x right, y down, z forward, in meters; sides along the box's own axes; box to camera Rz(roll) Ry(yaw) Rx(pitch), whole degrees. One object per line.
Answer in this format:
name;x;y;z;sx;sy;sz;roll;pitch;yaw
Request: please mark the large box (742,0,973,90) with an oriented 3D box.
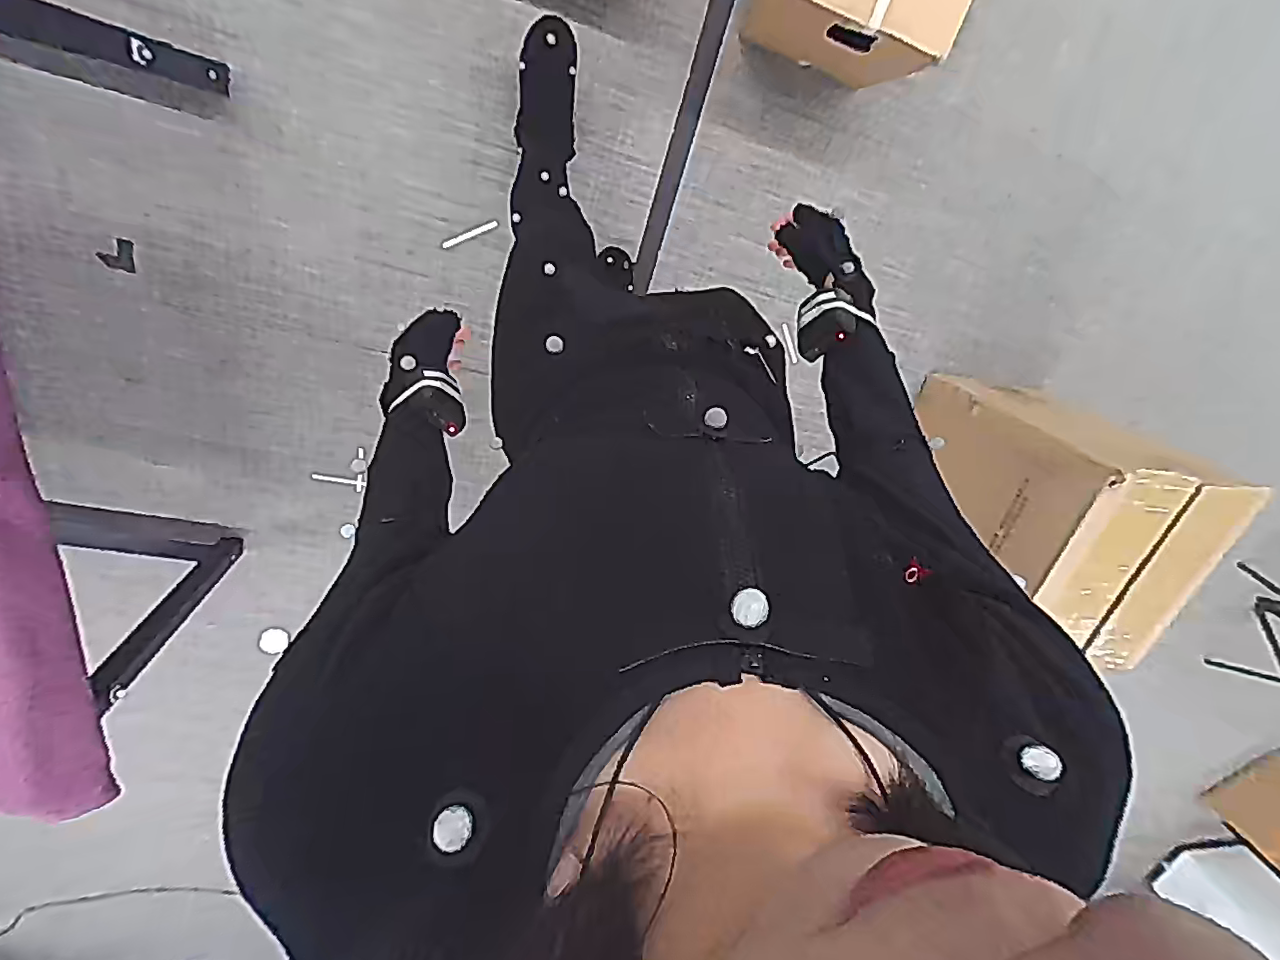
large box;0.428;-1.002;0.969;0.320;0.320;0.408;11;117;-14
